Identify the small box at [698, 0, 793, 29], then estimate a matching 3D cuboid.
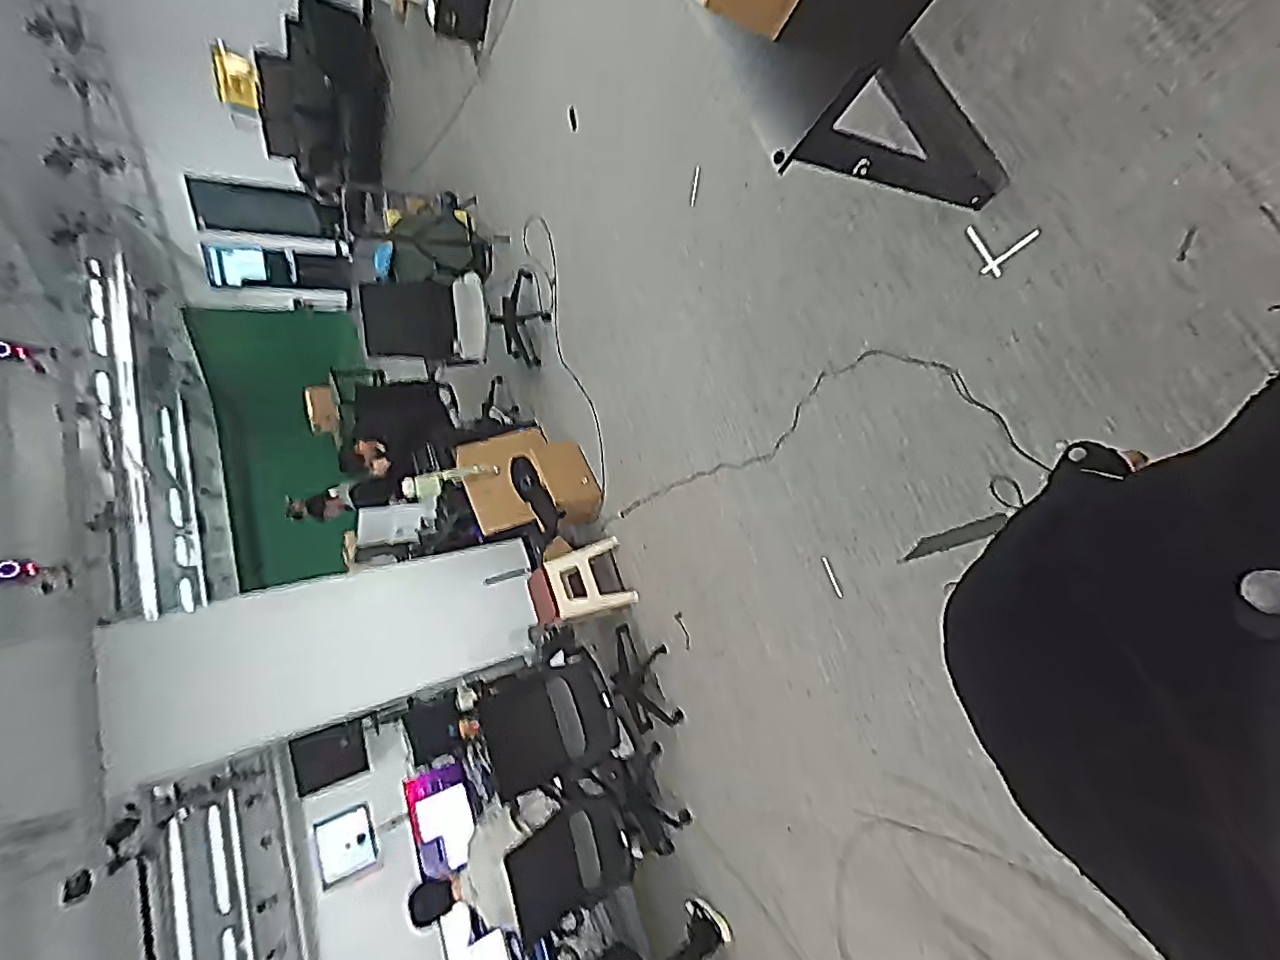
[{"bbox_3d":[0.173,-0.856,0.844,0.168,0.176,0.179,-41,63,52],"label":"small box"}]
